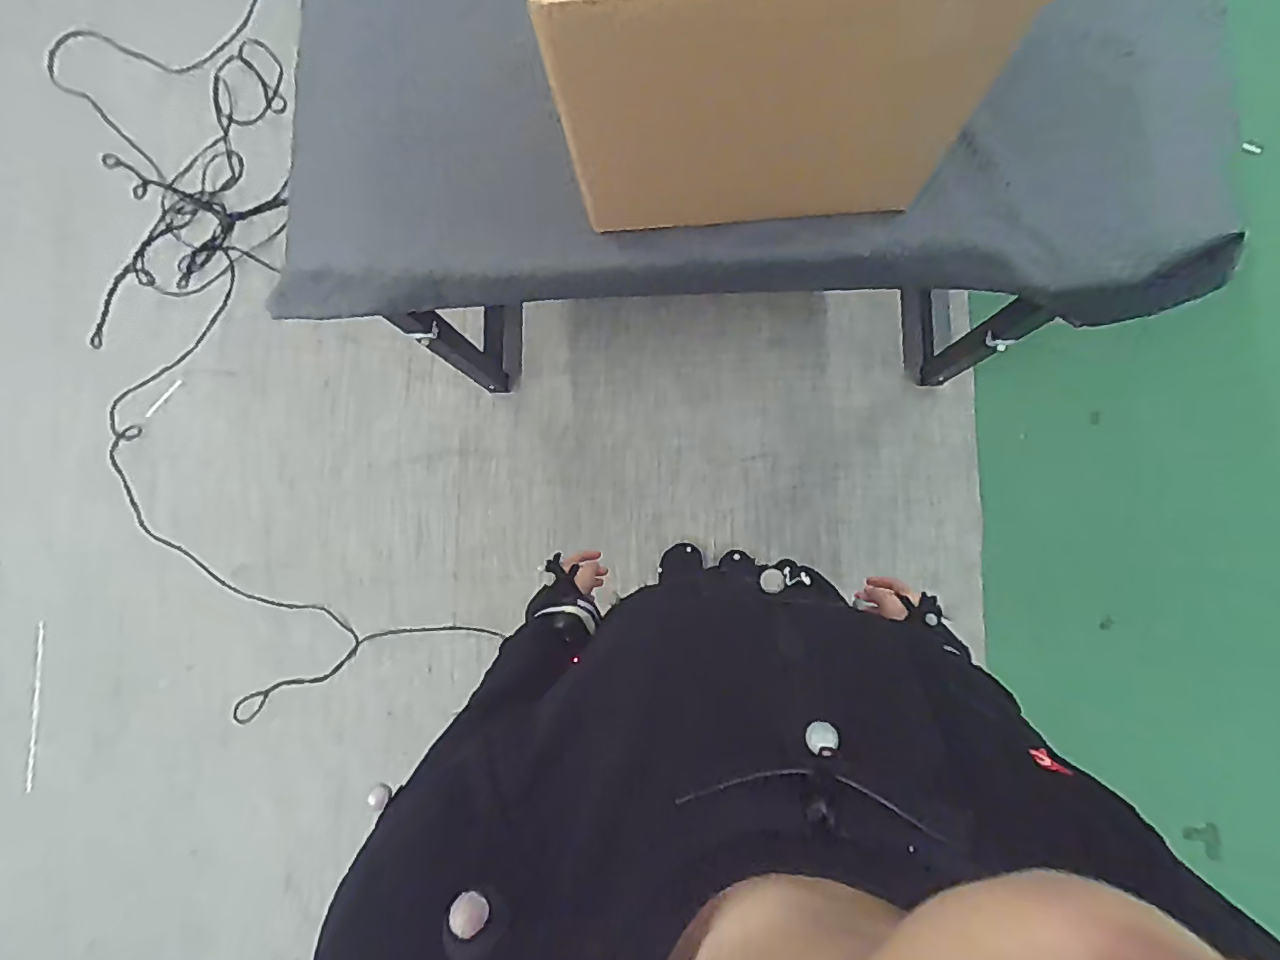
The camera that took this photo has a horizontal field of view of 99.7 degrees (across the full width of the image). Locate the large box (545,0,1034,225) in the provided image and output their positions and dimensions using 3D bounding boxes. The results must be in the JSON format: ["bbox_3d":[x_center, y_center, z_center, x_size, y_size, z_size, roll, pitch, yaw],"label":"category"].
[{"bbox_3d":[0.122,-0.509,0.566,0.408,0.320,0.320,-3,84,3],"label":"large box"}]
